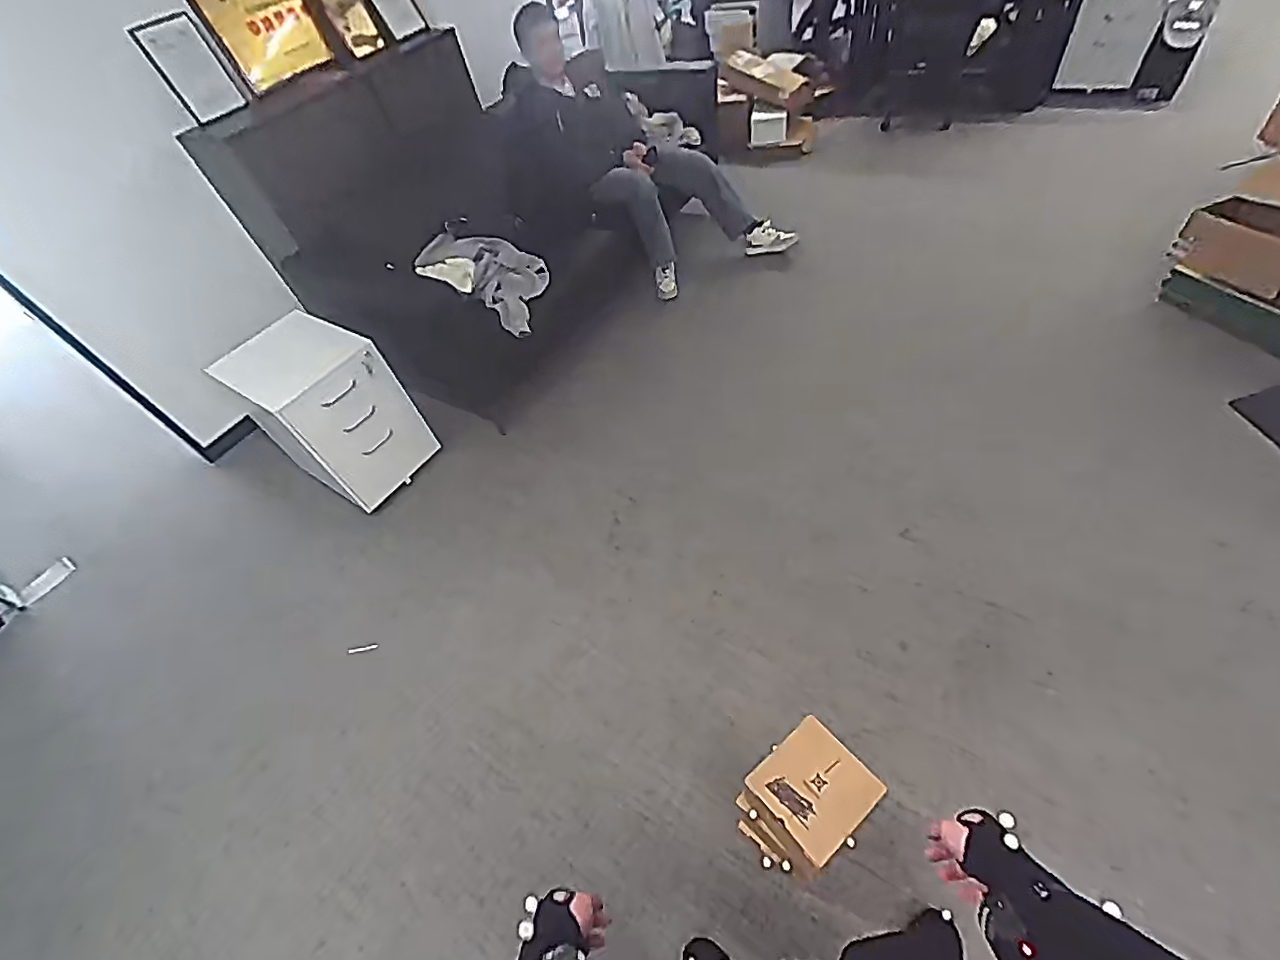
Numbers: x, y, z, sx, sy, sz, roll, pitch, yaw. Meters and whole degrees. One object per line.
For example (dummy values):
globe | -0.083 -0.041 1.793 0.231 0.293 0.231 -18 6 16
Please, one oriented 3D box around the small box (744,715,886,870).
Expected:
small box | 0.311 0.573 0.984 0.179 0.176 0.168 -32 52 -15

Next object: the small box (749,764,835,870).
small box | 0.348 0.772 1.235 0.179 0.176 0.168 0 49 16

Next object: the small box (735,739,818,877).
small box | 0.318 0.678 1.114 0.168 0.176 0.179 -41 52 -22
